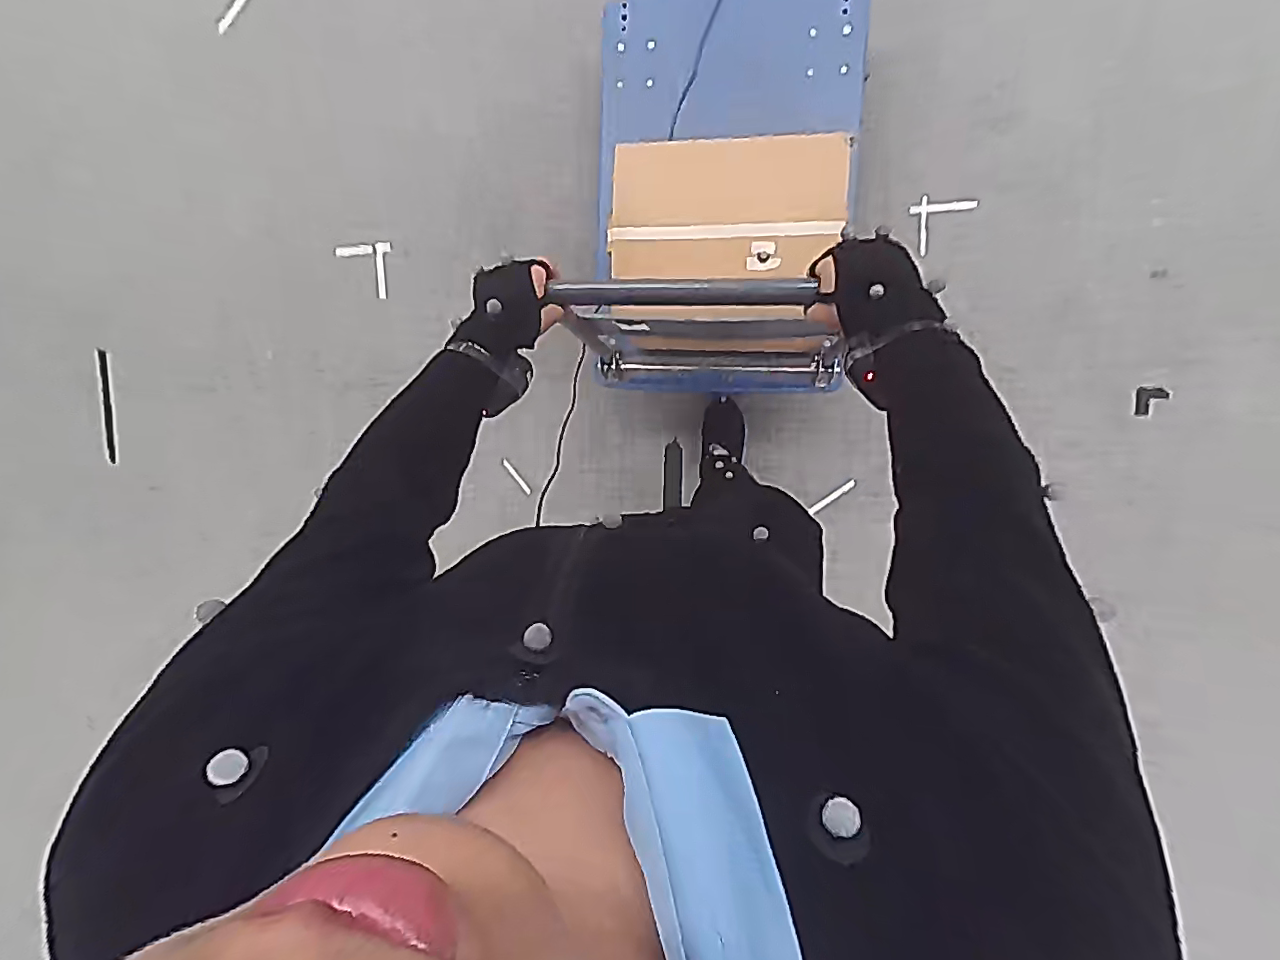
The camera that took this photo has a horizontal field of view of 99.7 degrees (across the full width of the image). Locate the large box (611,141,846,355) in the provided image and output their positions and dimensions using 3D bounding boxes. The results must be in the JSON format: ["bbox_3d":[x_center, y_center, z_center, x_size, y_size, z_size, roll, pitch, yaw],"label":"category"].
[{"bbox_3d":[0.165,-0.433,1.090,0.408,0.320,0.320,3,95,8],"label":"large box"}]
